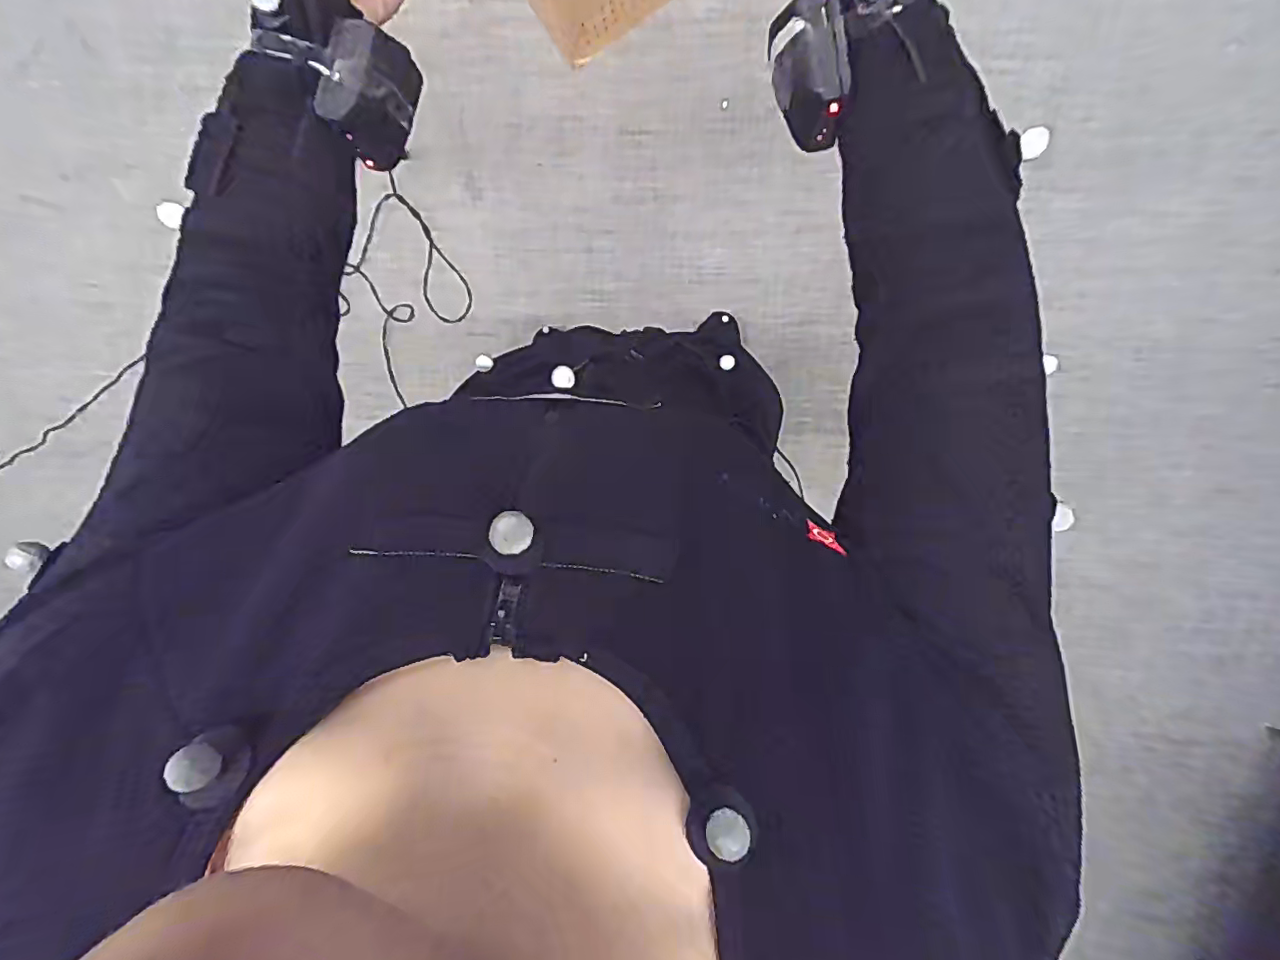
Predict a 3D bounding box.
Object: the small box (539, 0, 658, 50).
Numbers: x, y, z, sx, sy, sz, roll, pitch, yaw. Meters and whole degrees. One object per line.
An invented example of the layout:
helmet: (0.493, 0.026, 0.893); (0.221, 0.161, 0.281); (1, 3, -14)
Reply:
small box: (-0.020, -0.362, 0.244); (0.179, 0.176, 0.168); (-35, 93, 7)
